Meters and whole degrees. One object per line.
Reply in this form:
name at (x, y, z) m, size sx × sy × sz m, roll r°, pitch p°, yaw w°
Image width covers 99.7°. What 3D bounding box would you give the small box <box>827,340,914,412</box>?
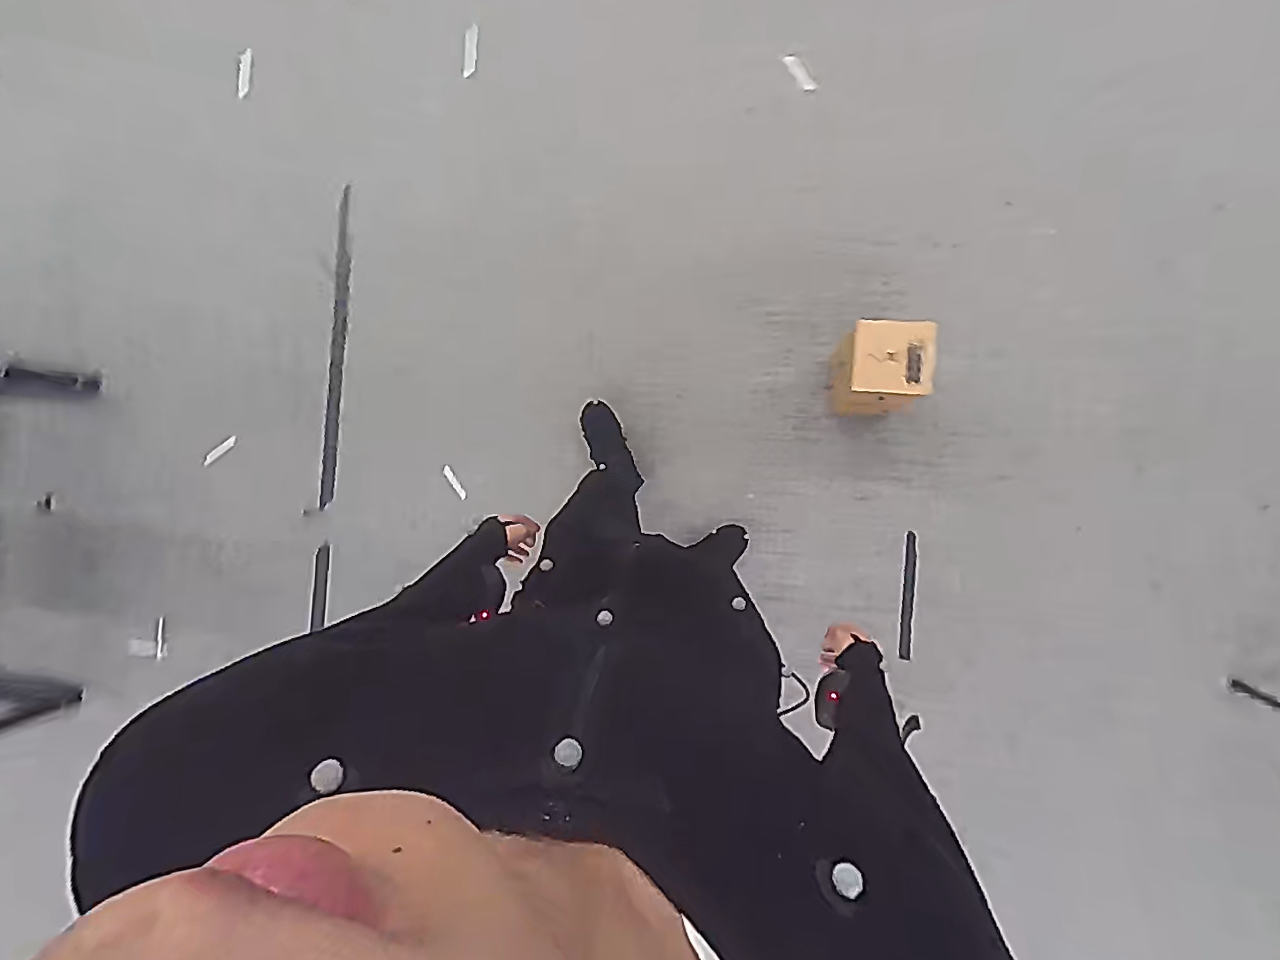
small box at (0.617, -0.276, 1.462) m, size 0.179 × 0.176 × 0.168 m, roll 3°, pitch 90°, yaw 8°
